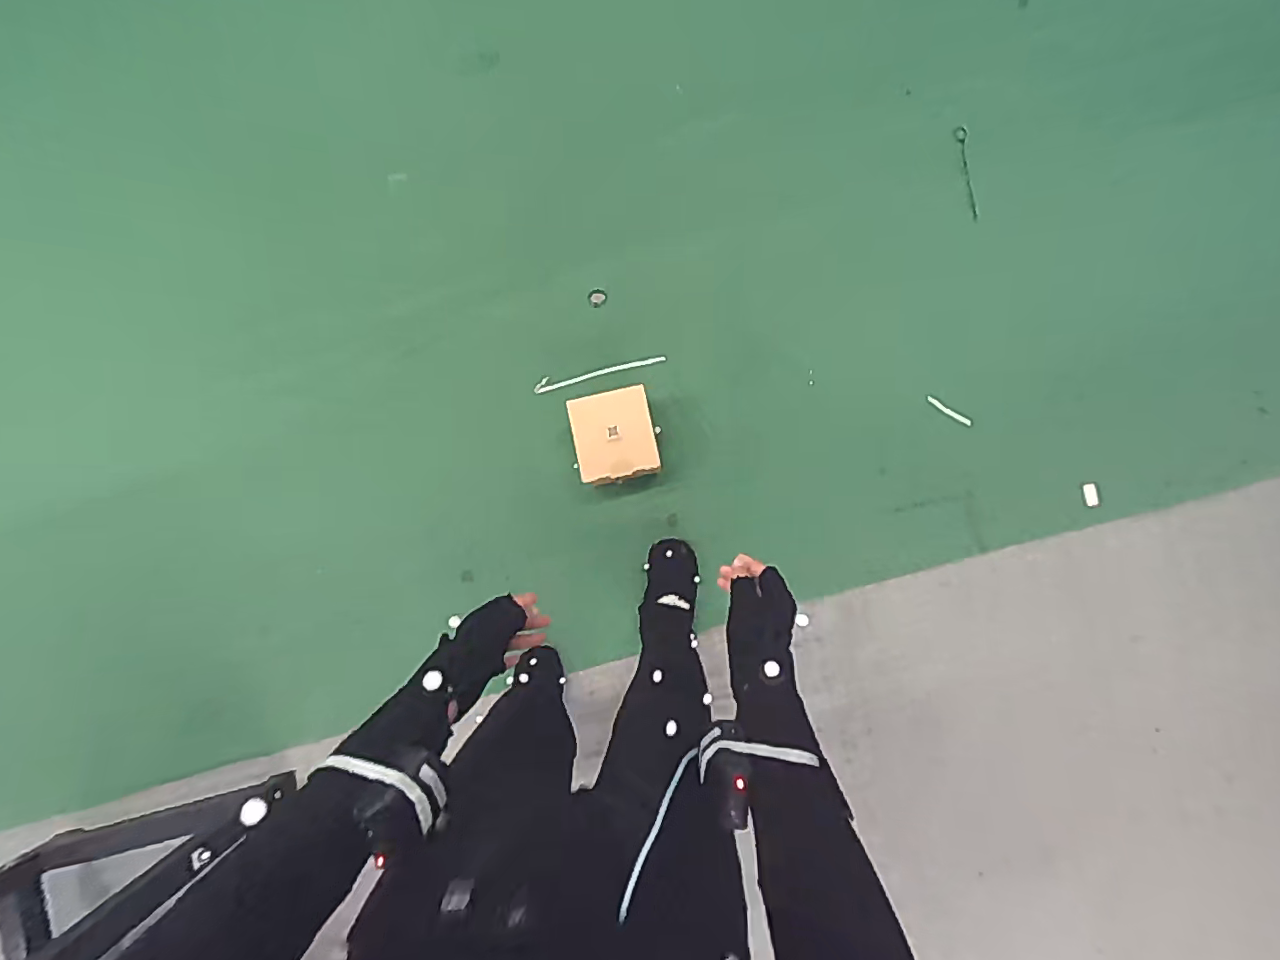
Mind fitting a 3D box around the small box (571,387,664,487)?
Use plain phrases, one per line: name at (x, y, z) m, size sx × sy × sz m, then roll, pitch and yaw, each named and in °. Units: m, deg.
small box at (-0.046, -0.087, 1.191) m, size 0.168 × 0.176 × 0.179 m, roll -13°, pitch 87°, yaw 1°
